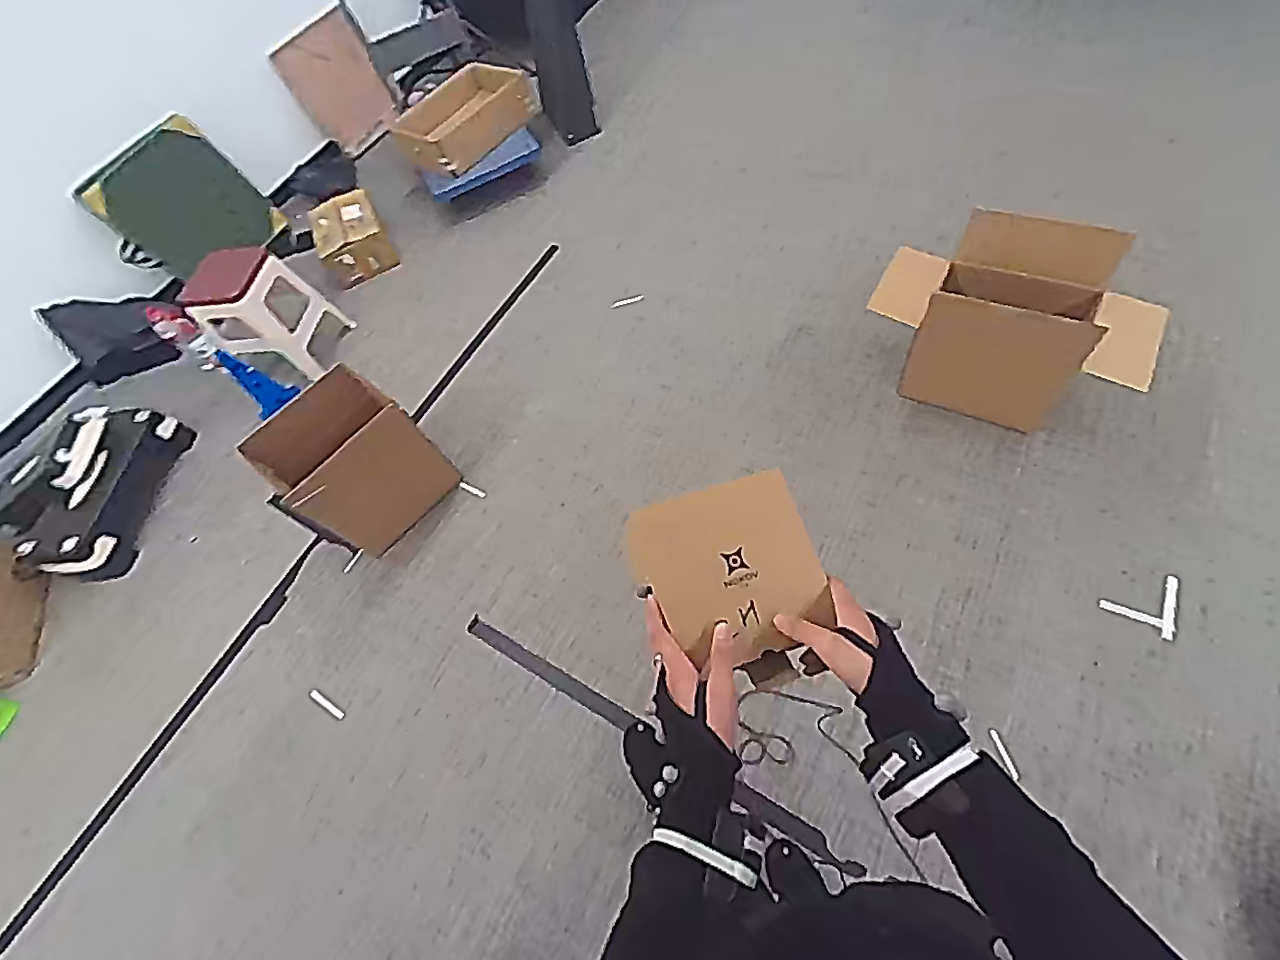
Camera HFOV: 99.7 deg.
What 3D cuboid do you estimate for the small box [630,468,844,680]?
[{"bbox_3d":[0.090,0.110,0.607,0.168,0.176,0.179,-16,75,-8],"label":"small box"}]
